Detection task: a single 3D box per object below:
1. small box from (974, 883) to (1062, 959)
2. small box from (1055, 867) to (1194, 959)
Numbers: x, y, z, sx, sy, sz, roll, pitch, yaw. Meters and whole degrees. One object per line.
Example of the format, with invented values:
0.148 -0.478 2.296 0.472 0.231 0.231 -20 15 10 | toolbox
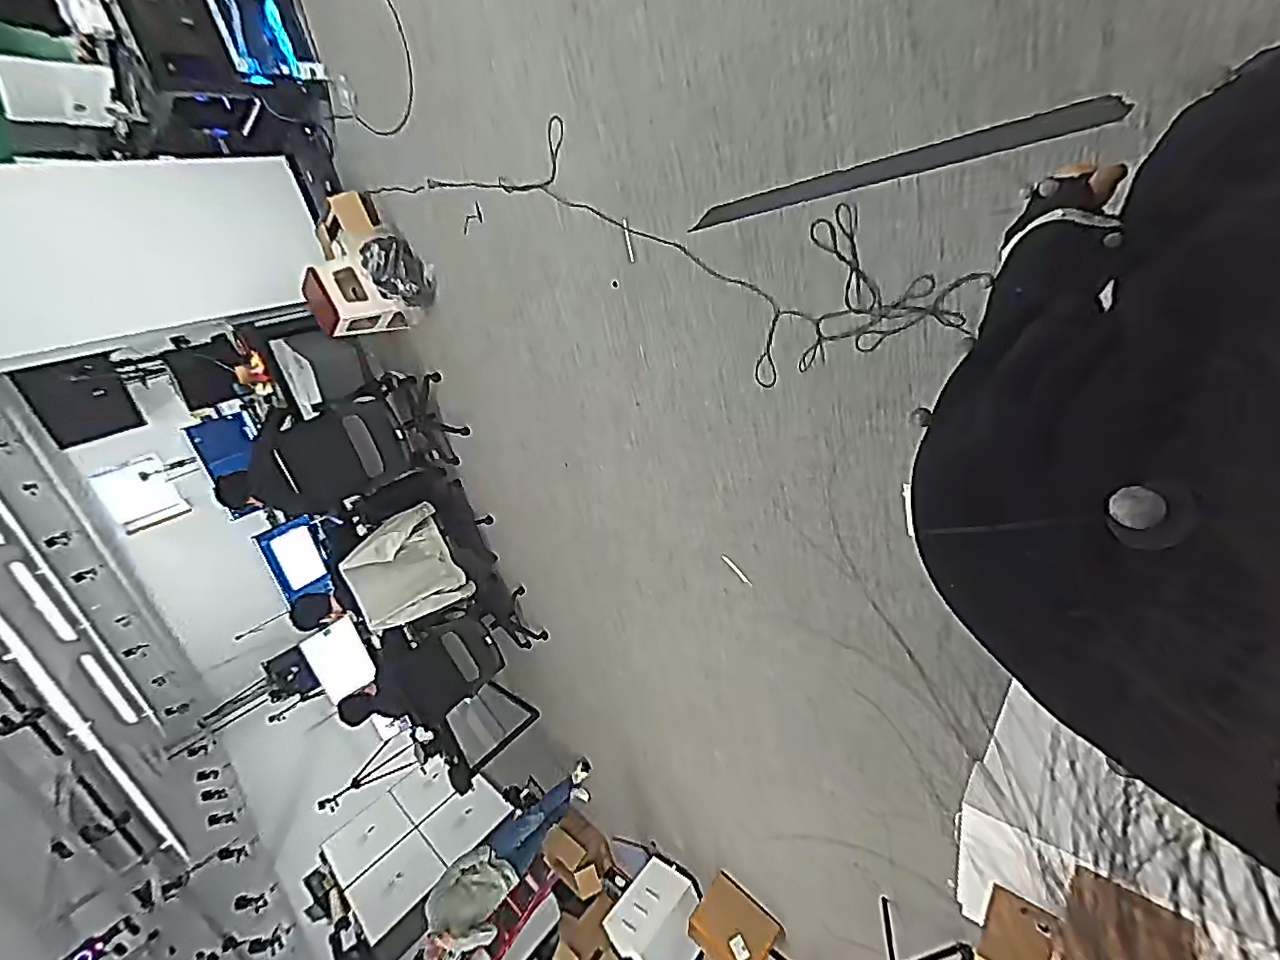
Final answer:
0.807 1.003 1.122 0.168 0.176 0.179 9 119 42 | small box
0.856 0.850 0.964 0.168 0.176 0.179 13 125 42 | small box
